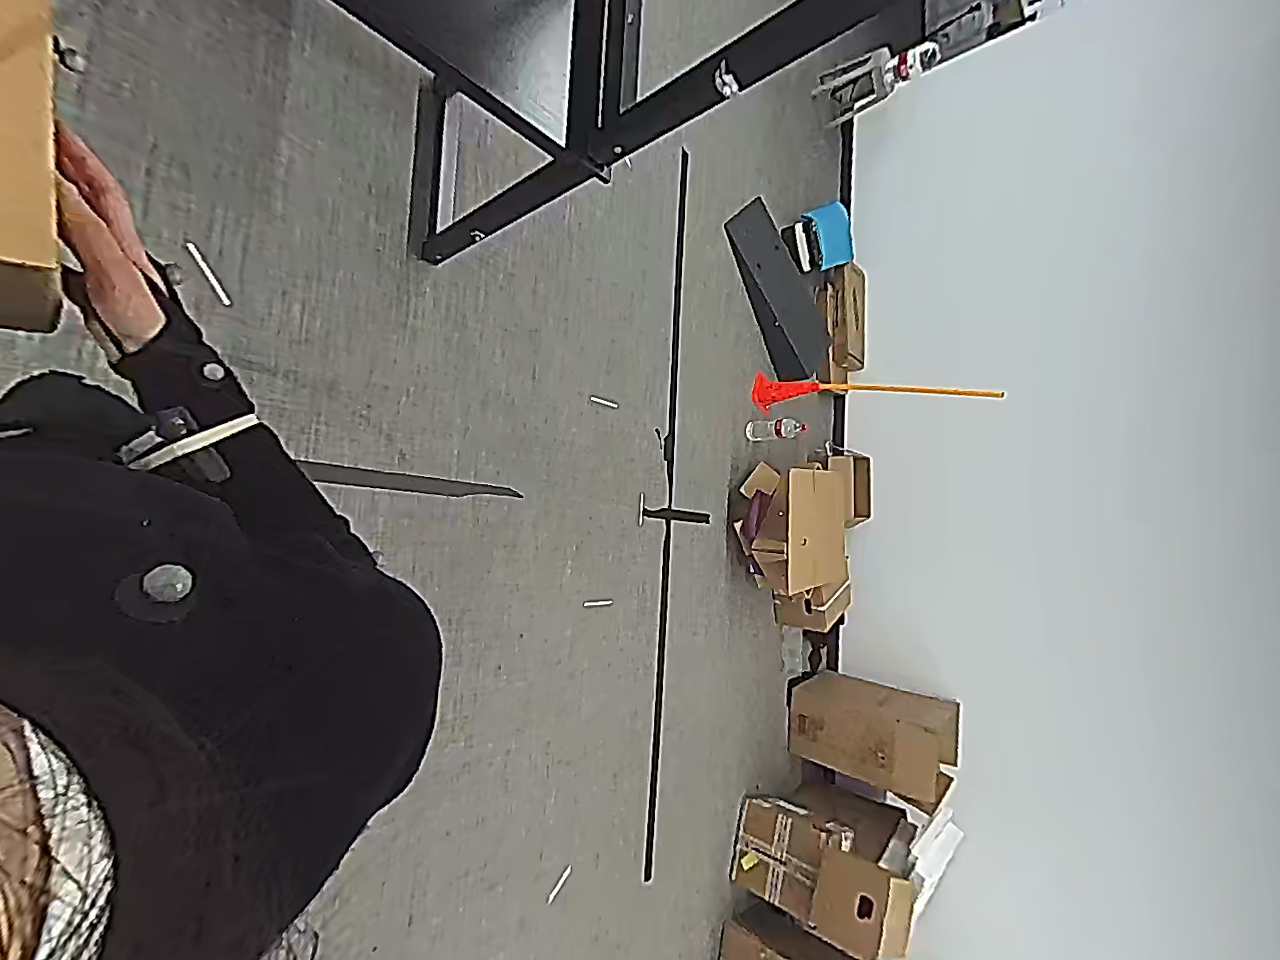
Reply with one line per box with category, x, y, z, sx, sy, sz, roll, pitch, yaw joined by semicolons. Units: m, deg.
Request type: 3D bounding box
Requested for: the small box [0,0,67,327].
small box;-0.420;-0.193;0.282;0.168;0.176;0.179;-2;89;-48
